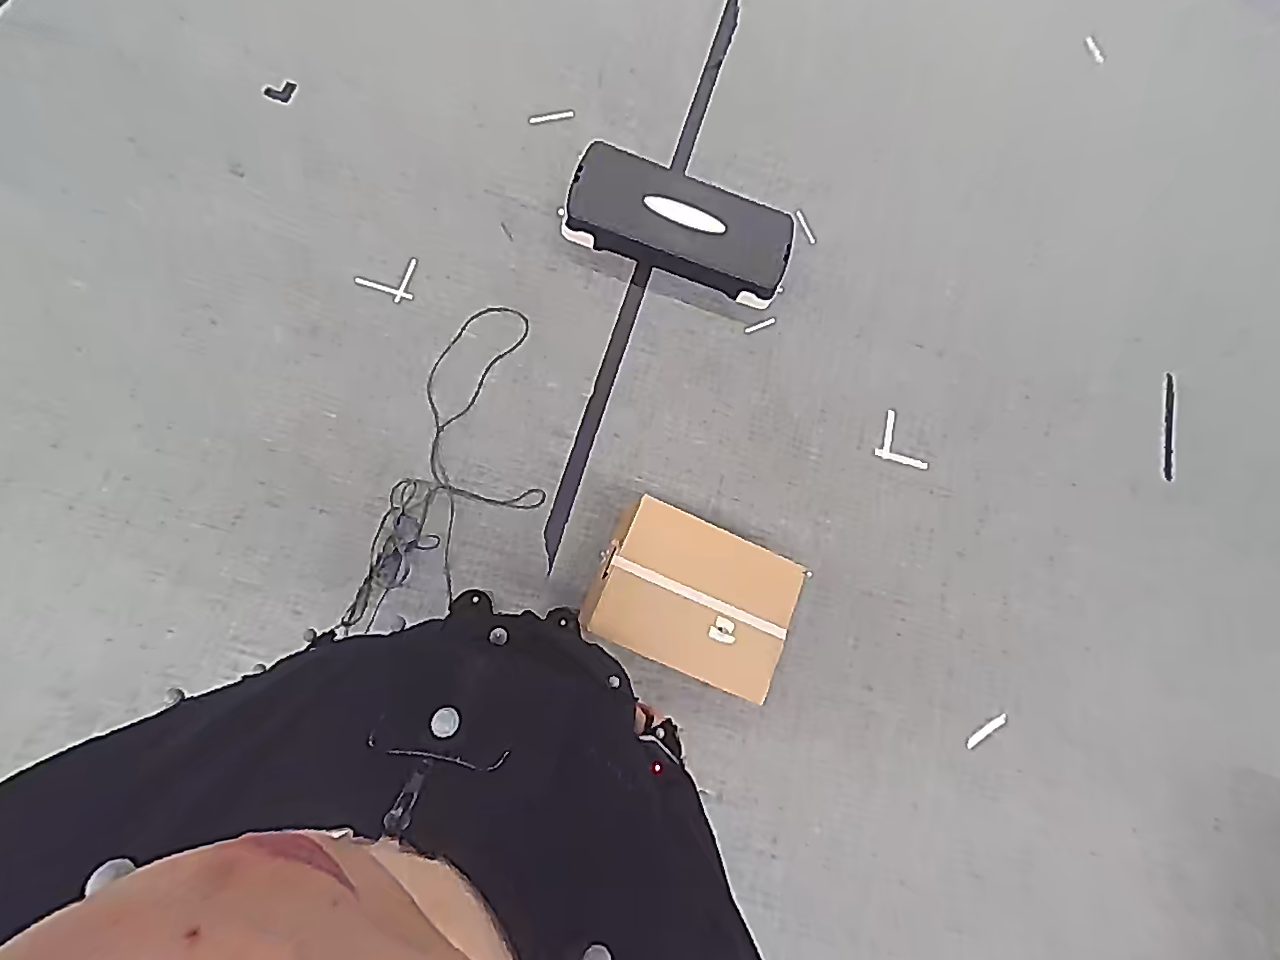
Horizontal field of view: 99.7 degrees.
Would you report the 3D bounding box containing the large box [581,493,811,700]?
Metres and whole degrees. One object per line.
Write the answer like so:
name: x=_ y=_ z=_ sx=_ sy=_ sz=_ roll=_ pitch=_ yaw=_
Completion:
large box: x=0.112 y=0.268 z=1.268 sx=0.408 sy=0.320 sz=0.320 roll=25 pitch=76 yaw=-5
